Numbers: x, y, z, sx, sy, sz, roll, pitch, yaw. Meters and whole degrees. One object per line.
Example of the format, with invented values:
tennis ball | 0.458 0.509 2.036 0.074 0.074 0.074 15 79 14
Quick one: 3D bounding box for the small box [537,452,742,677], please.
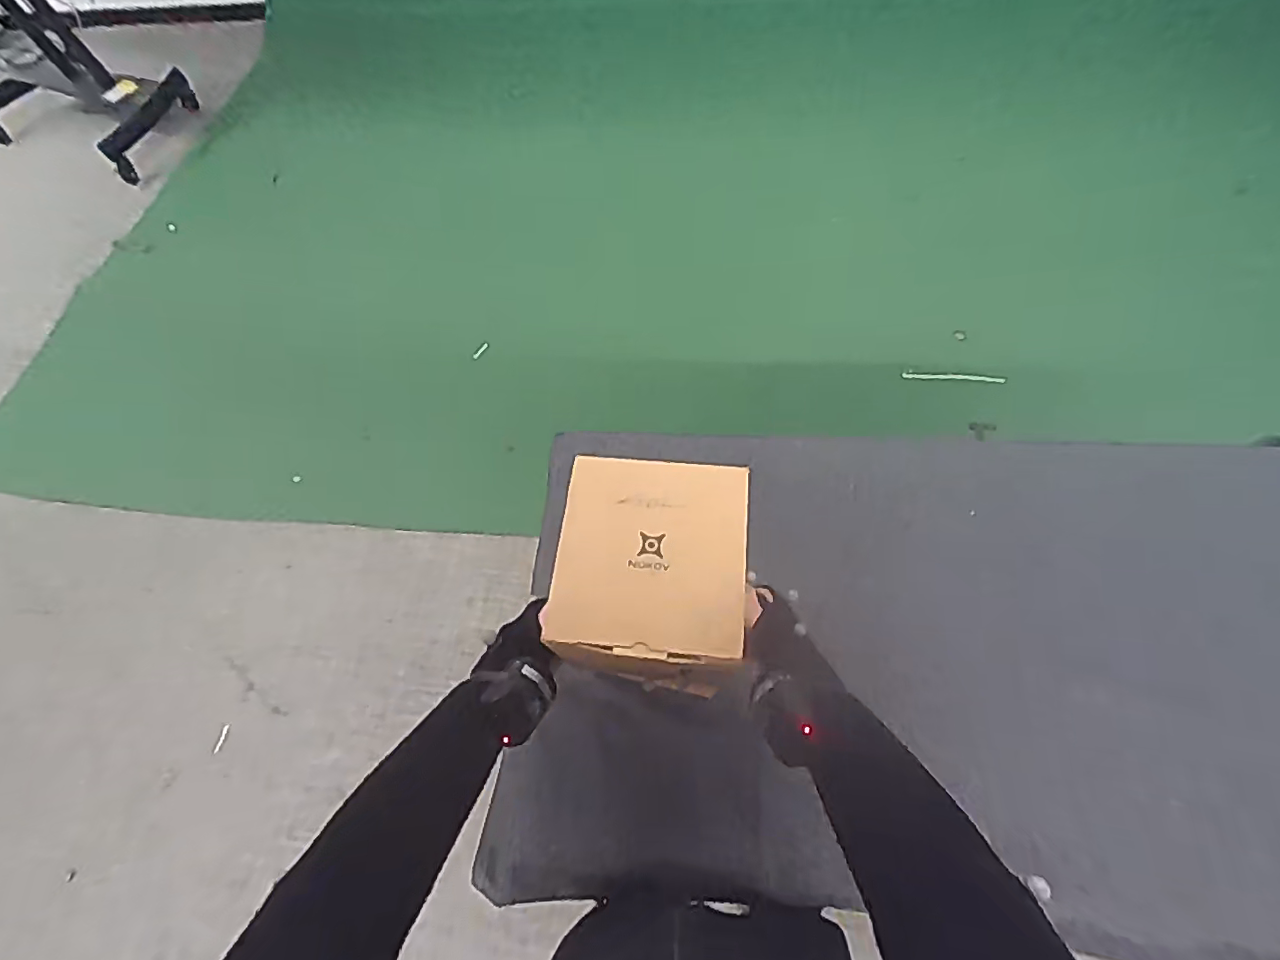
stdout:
small box | 0.009 0.092 0.544 0.168 0.176 0.179 5 62 5
